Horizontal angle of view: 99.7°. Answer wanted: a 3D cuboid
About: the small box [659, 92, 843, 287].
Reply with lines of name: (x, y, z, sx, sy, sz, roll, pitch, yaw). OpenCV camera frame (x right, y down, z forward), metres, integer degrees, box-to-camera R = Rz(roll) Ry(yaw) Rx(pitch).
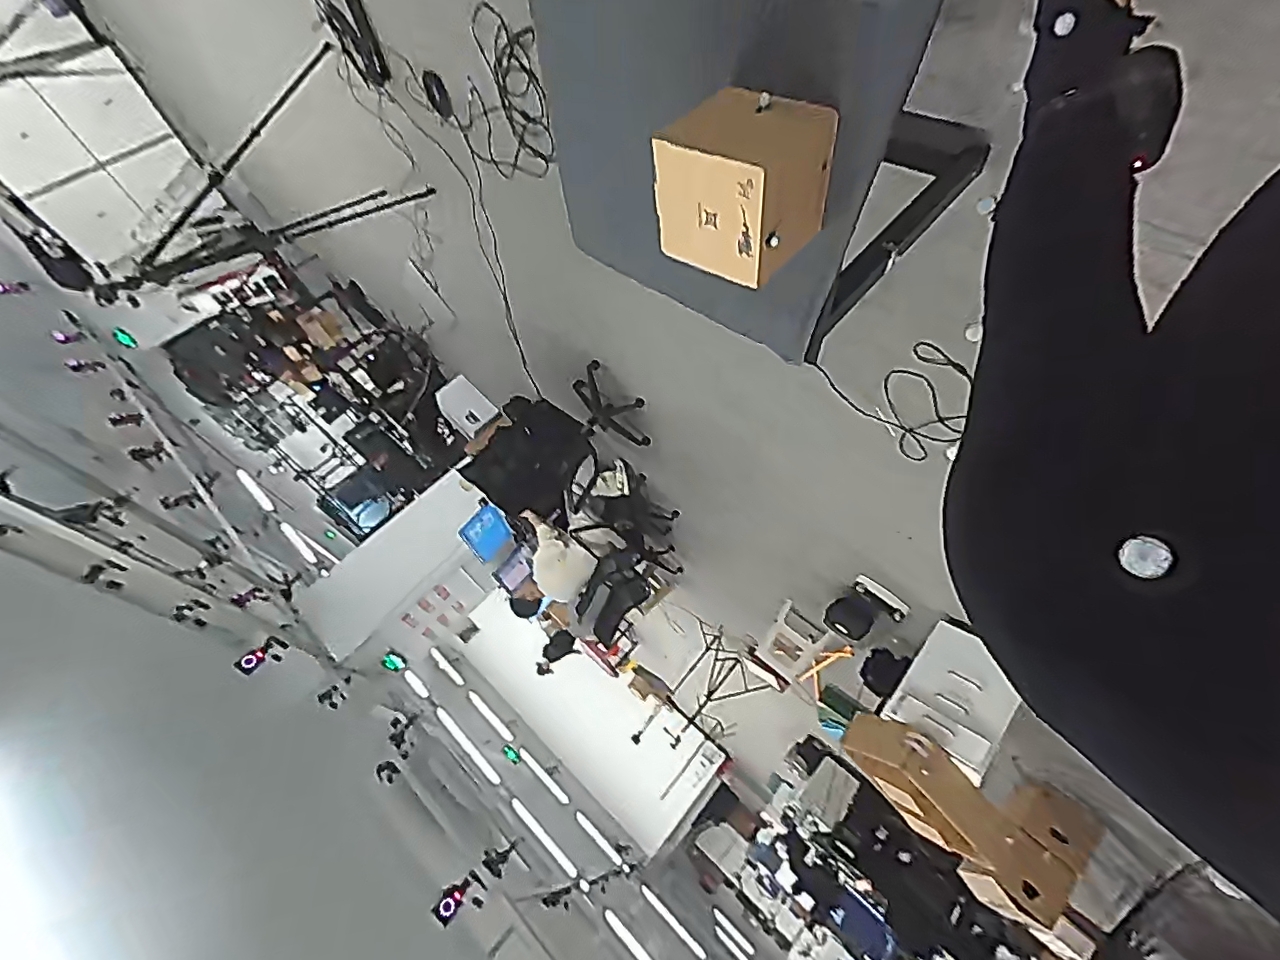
small box: (0.150, -0.409, 0.755, 0.179, 0.176, 0.168, 34, 157, 27)
